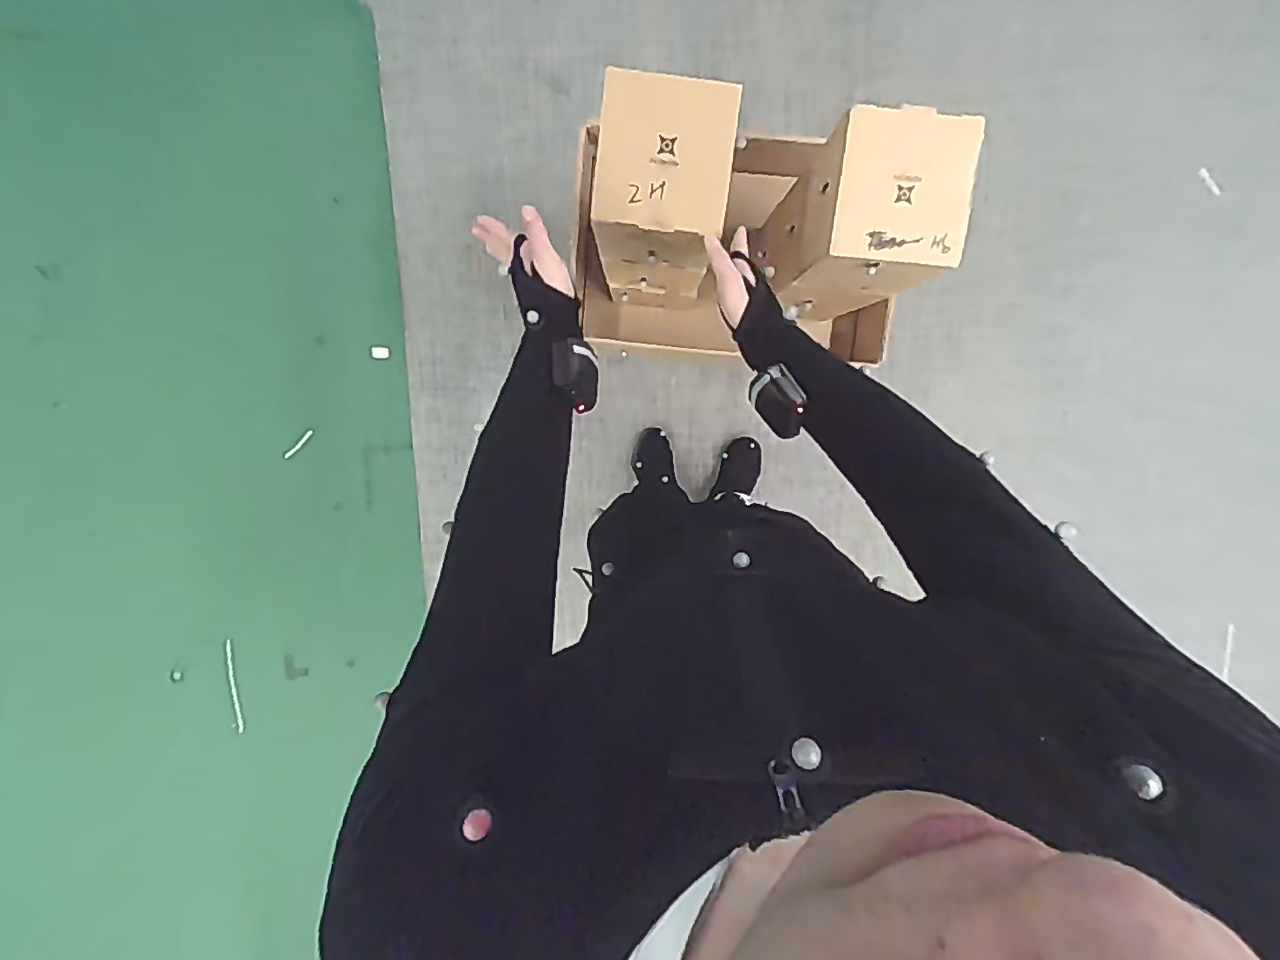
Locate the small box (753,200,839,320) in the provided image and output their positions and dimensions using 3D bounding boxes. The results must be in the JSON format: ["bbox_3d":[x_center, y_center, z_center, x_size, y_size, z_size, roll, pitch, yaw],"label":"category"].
[{"bbox_3d":[0.325,-0.417,1.057,0.168,0.176,0.179,7,98,-1],"label":"small box"}]

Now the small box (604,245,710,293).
[{"bbox_3d":[0.034,-0.424,0.893,0.168,0.176,0.179,7,99,-1],"label":"small box"}]

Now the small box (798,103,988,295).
[{"bbox_3d":[0.326,-0.365,0.734,0.168,0.176,0.179,6,98,0],"label":"small box"}]

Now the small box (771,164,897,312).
[{"bbox_3d":[0.325,-0.389,0.897,0.168,0.176,0.179,6,99,0],"label":"small box"}]

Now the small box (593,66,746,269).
[{"bbox_3d":[0.034,-0.404,0.729,0.168,0.176,0.179,8,98,-1],"label":"small box"}]
